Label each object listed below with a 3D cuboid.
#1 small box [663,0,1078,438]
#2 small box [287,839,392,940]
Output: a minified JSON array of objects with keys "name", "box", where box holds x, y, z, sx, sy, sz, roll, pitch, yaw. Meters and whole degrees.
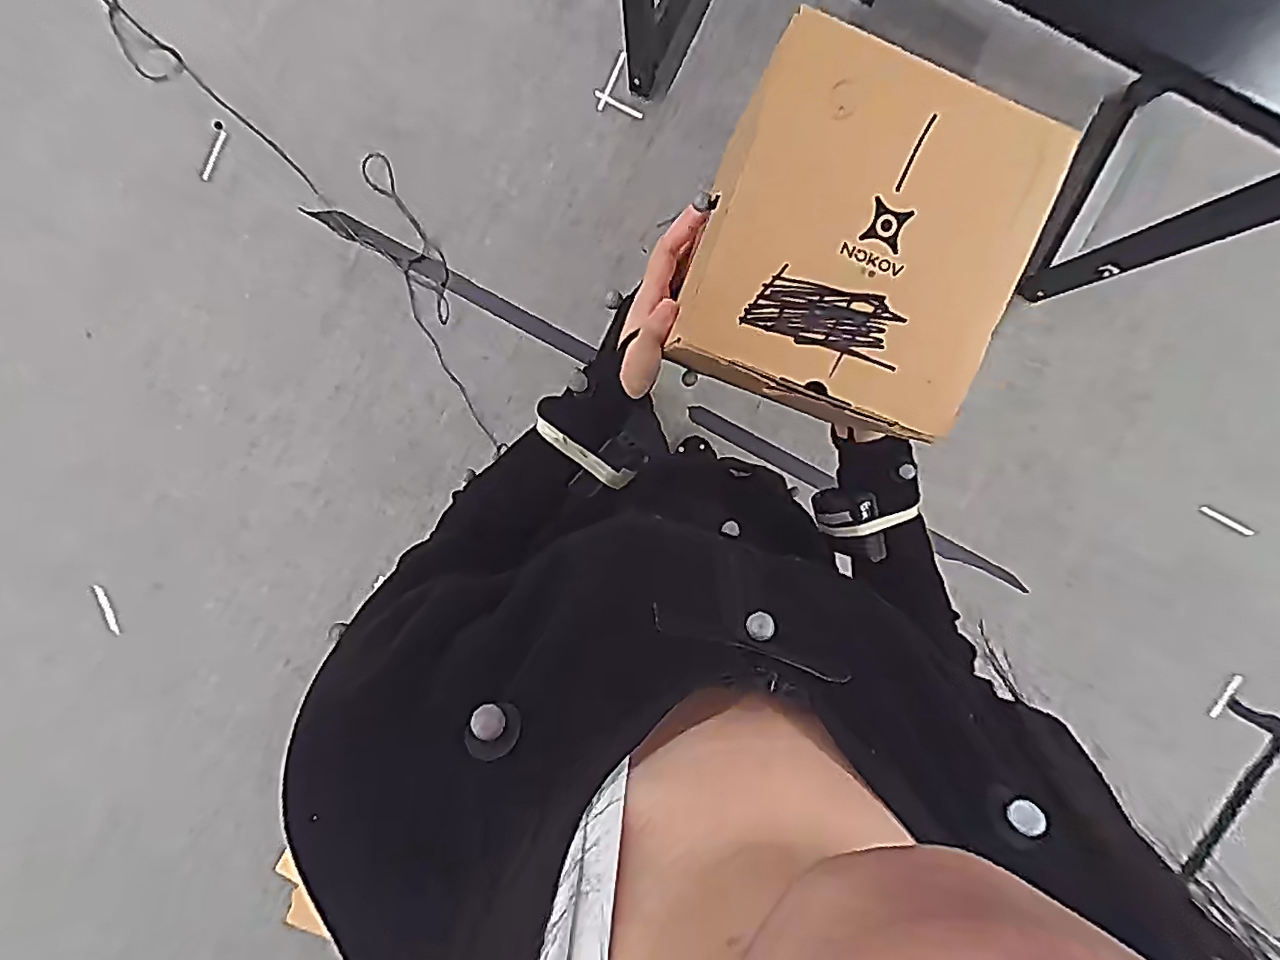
[{"name":"small box","box":[0.121,-0.144,0.365,0.168,0.176,0.179,20,98,-7]},{"name":"small box","box":[-0.852,1.140,1.545,0.179,0.176,0.168,22,97,0]}]
